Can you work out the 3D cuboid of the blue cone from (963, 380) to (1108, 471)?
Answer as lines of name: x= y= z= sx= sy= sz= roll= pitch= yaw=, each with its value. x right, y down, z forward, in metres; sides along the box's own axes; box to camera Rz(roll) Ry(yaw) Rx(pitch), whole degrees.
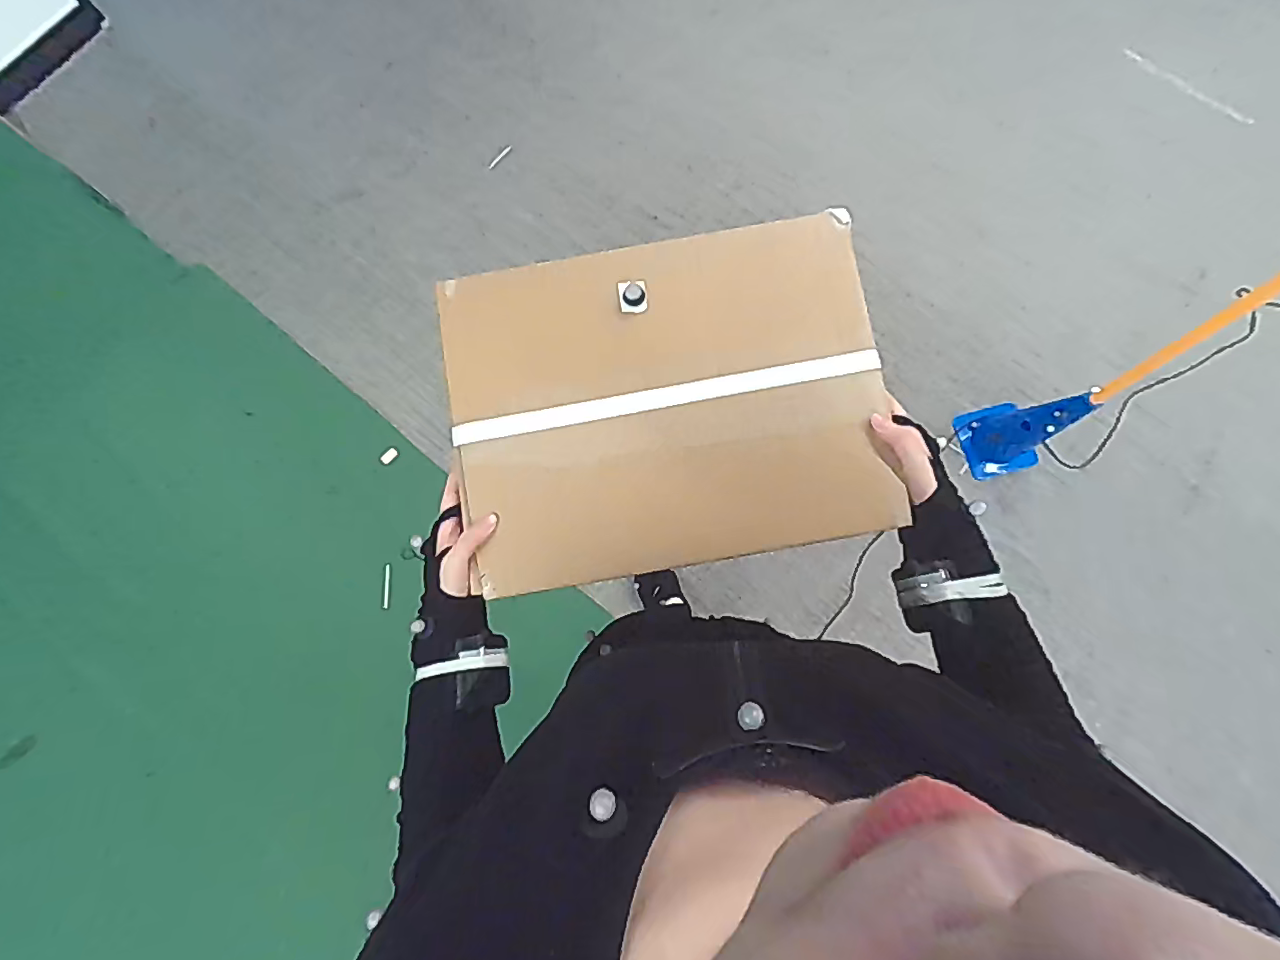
blue cone: x=1.038 y=-0.162 z=1.385 sx=0.193 sy=0.380 sz=0.192 roll=-18 pitch=79 yaw=-2
